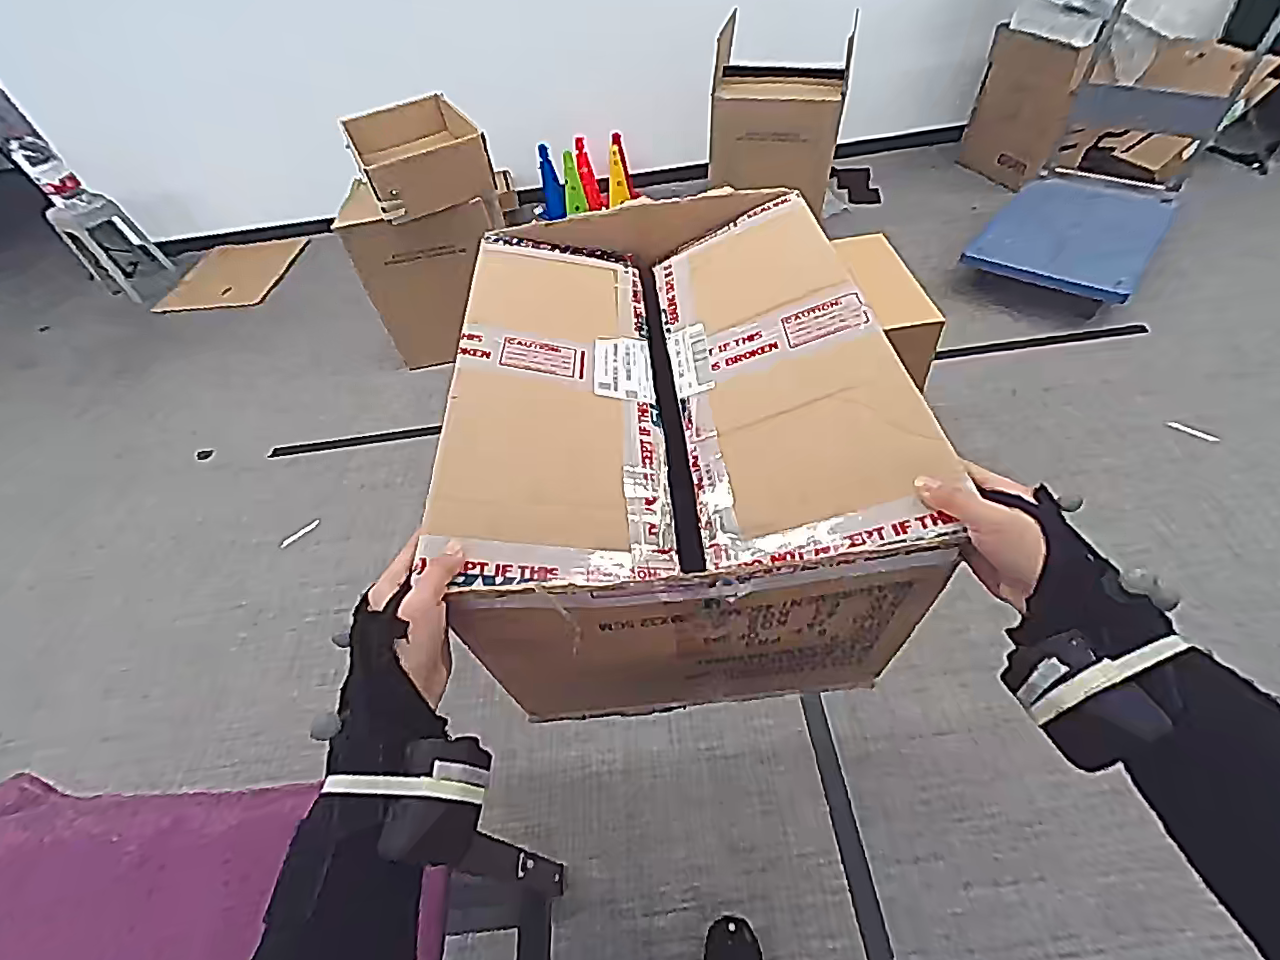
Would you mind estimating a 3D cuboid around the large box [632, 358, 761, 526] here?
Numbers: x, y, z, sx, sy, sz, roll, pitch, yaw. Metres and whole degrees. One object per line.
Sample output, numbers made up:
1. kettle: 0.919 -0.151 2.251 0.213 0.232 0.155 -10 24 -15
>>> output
1. large box: 0.163 -0.119 1.679 0.320 0.320 0.408 -9 50 1
